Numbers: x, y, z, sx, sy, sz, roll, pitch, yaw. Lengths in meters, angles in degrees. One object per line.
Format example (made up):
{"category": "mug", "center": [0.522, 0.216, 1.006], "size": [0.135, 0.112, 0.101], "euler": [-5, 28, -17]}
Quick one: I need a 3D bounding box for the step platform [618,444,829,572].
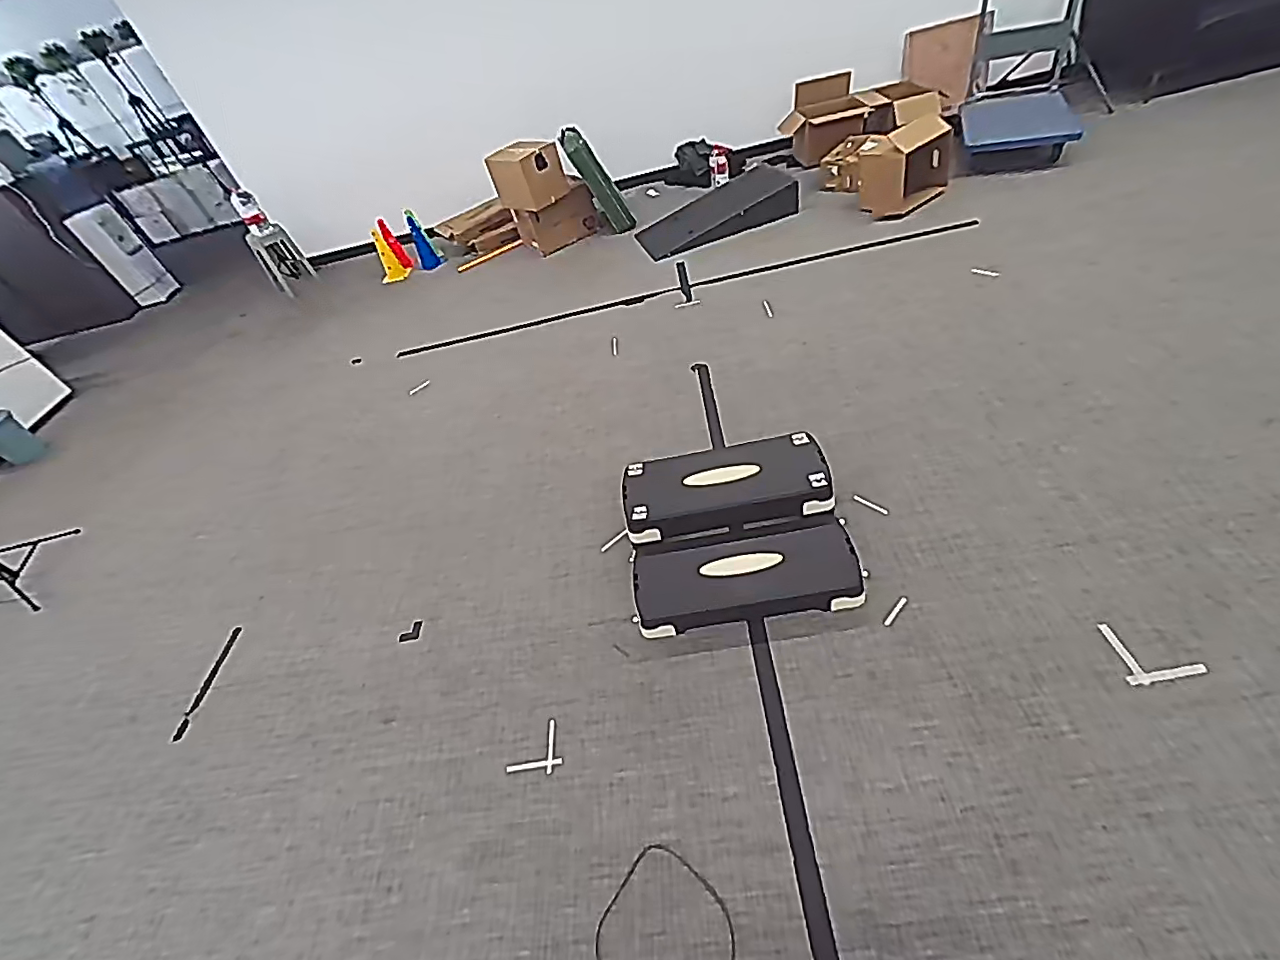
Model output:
{"category": "step platform", "center": [0.266, 0.088, 1.807], "size": [0.684, 0.204, 0.286], "euler": [-11, 45, 5]}
